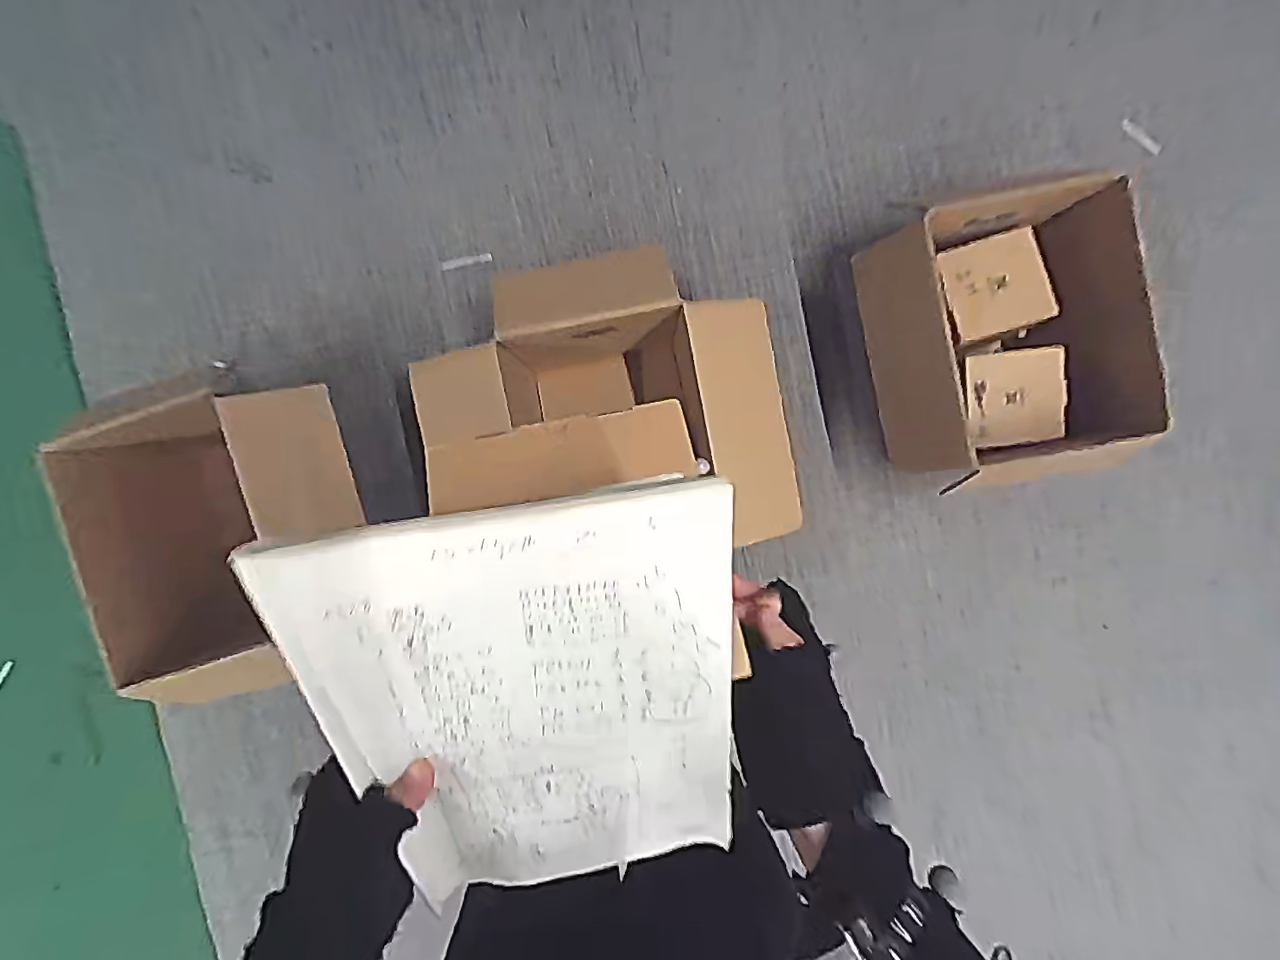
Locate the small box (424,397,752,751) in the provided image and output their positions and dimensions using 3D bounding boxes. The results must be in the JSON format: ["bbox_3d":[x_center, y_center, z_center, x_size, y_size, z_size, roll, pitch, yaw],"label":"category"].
[{"bbox_3d":[-0.033,0.070,0.383,0.168,0.176,0.179,-12,70,-4],"label":"small box"}]
